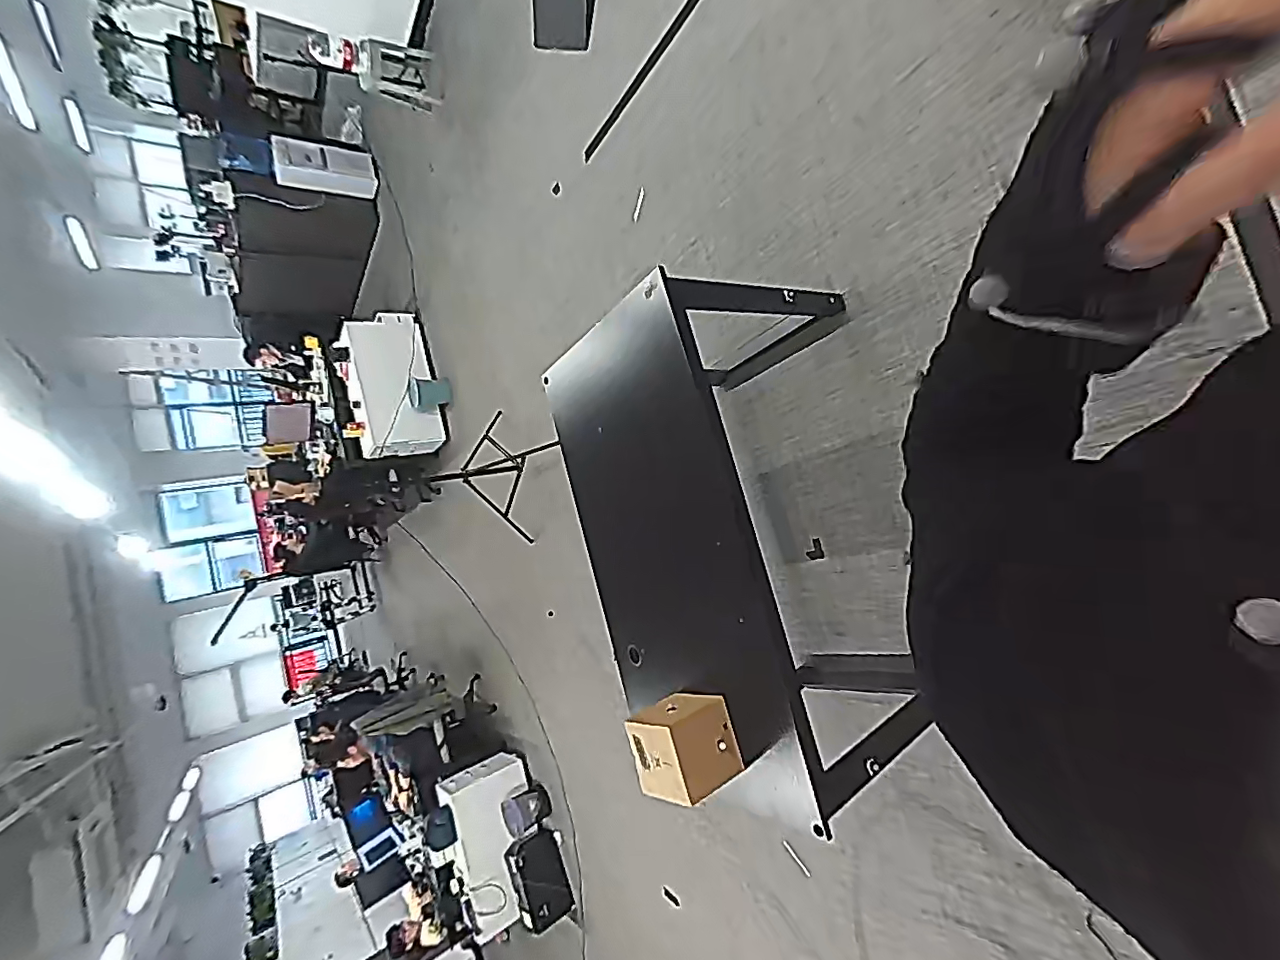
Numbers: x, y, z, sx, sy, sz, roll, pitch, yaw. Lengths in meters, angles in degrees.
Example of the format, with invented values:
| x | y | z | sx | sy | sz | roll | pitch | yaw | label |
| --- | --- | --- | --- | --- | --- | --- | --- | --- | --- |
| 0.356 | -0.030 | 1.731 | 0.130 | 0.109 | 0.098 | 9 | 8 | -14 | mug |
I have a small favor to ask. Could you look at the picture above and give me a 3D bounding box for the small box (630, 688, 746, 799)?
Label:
| x | y | z | sx | sy | sz | roll | pitch | yaw | label |
| --- | --- | --- | --- | --- | --- | --- | --- | --- | --- |
| 0.108 | 0.585 | 1.227 | 0.179 | 0.176 | 0.168 | -26 | 78 | 51 | small box |
